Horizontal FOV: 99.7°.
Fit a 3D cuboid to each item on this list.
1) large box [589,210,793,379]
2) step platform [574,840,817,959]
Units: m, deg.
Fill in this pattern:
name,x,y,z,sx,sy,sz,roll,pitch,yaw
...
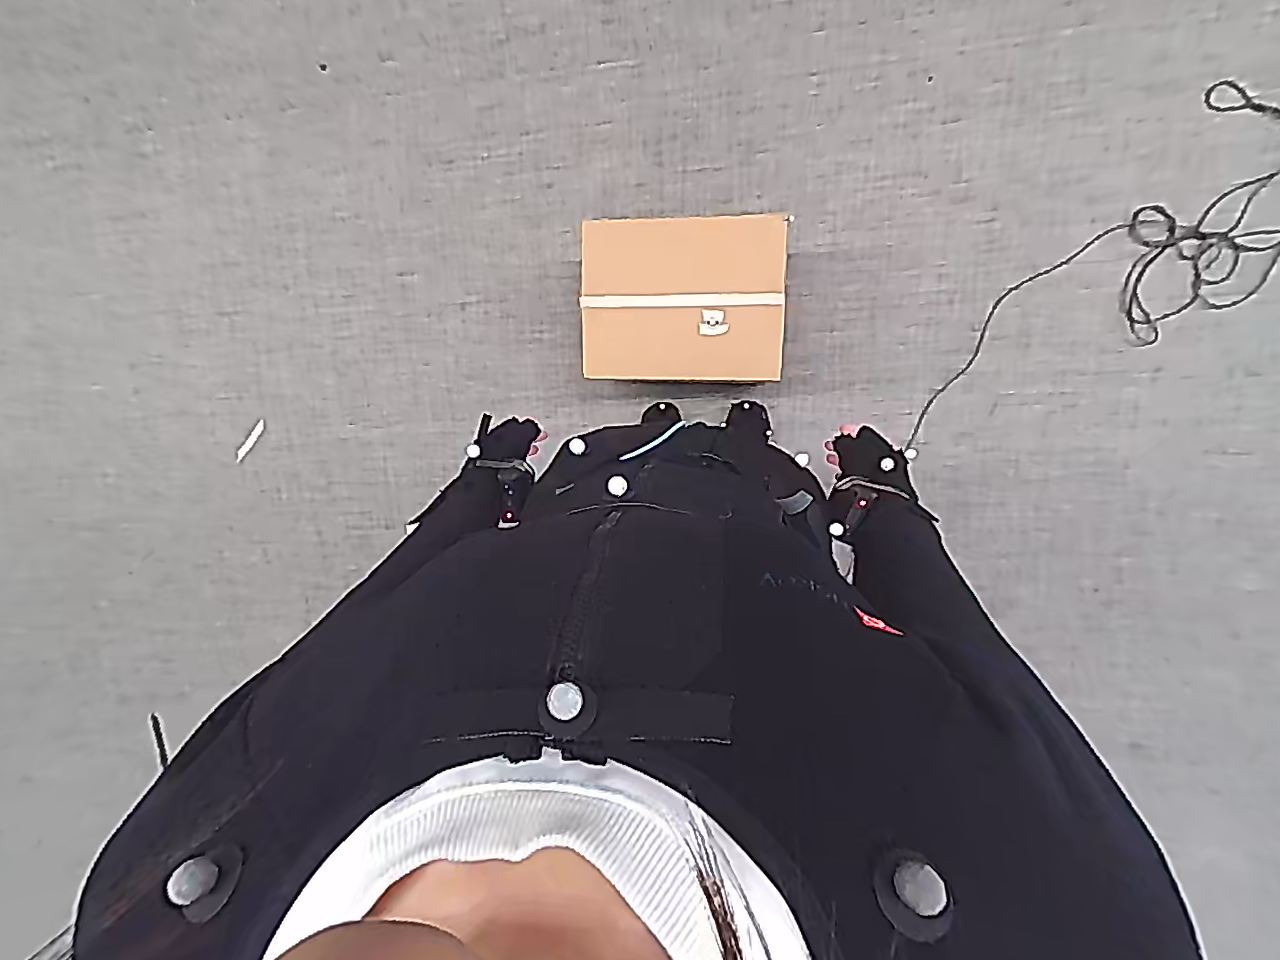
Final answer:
name,x,y,z,sx,sy,sz,roll,pitch,yaw
large box,0.114,-0.391,1.225,0.408,0.320,0.320,2,101,8
step platform,0.153,1.262,1.558,0.684,0.204,0.286,-2,99,11
